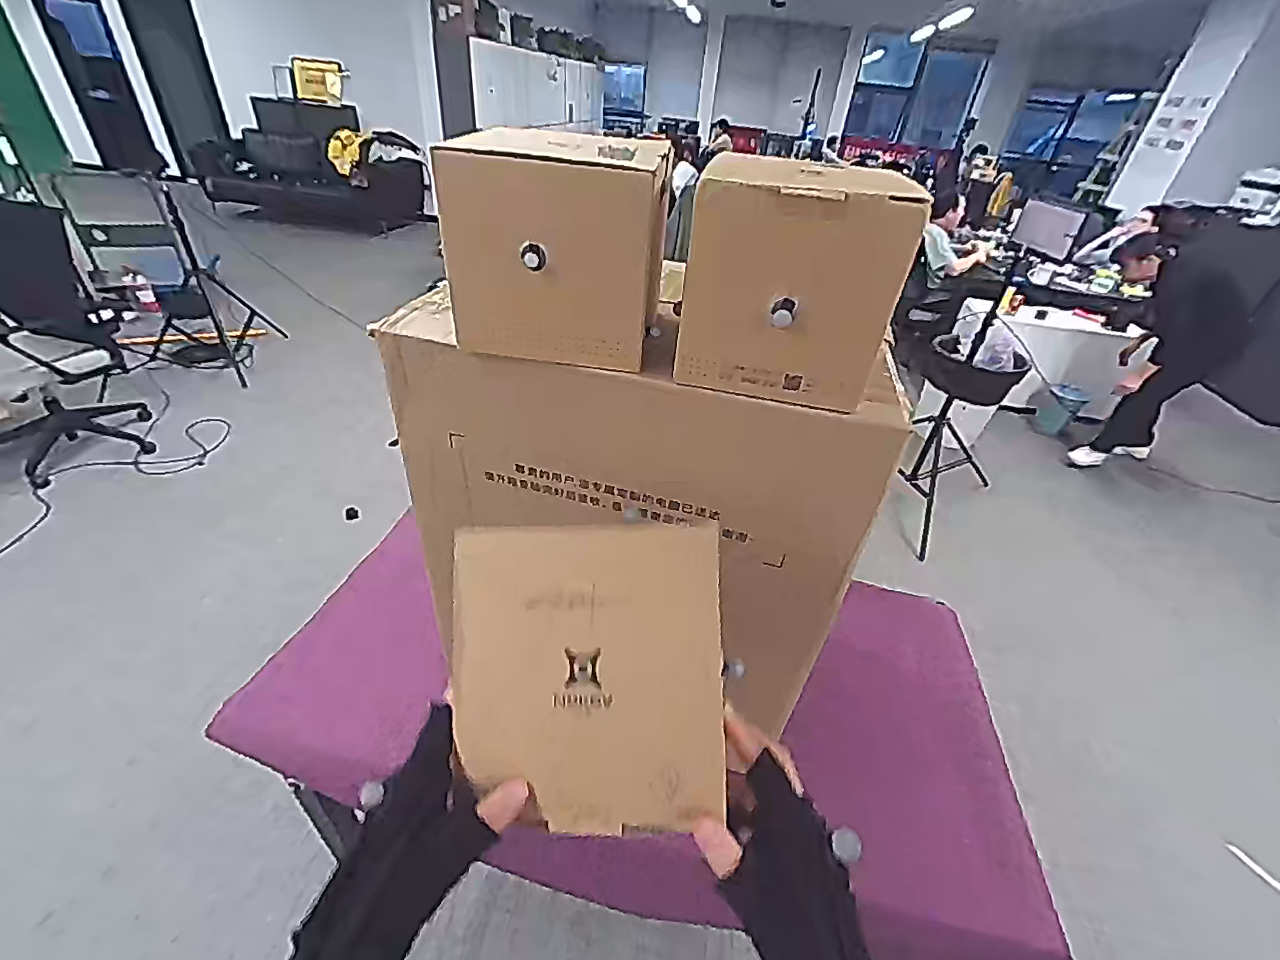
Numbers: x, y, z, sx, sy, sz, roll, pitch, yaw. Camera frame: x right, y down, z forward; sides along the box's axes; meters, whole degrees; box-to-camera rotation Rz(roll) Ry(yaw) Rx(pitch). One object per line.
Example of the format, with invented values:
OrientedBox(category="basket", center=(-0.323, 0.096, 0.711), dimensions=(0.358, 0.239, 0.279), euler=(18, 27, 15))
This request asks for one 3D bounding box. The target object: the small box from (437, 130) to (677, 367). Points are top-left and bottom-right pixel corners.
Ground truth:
OrientedBox(category="small box", center=(-0.066, -0.222, 0.520), dimensions=(0.179, 0.176, 0.168), euler=(7, 37, 3))

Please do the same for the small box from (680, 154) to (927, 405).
OrientedBox(category="small box", center=(0.135, -0.188, 0.500), dimensions=(0.168, 0.176, 0.179), euler=(11, 38, 7))
